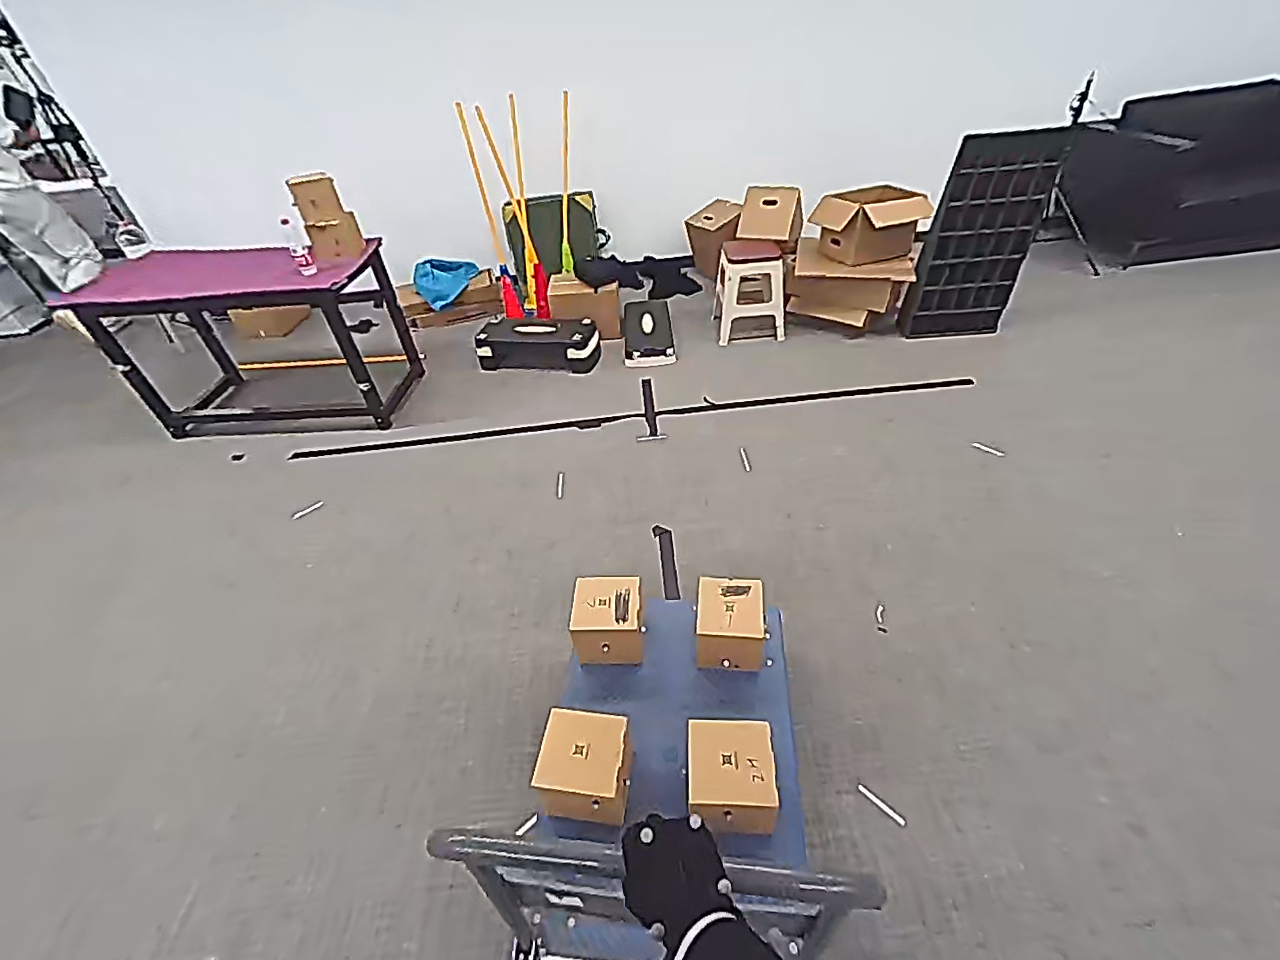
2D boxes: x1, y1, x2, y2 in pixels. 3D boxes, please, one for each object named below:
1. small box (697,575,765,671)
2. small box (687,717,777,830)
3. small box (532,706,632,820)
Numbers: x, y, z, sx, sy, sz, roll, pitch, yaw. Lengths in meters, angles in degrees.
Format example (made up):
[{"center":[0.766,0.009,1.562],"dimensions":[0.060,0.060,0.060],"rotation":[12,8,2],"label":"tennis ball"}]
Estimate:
[{"center":[0.237,0.376,1.425],"dimensions":[0.168,0.176,0.179],"rotation":[2,43,8],"label":"small box"},{"center":[0.190,0.627,1.152],"dimensions":[0.179,0.176,0.168],"rotation":[0,42,5],"label":"small box"},{"center":[-0.117,0.622,1.187],"dimensions":[0.179,0.176,0.168],"rotation":[4,42,8],"label":"small box"}]
